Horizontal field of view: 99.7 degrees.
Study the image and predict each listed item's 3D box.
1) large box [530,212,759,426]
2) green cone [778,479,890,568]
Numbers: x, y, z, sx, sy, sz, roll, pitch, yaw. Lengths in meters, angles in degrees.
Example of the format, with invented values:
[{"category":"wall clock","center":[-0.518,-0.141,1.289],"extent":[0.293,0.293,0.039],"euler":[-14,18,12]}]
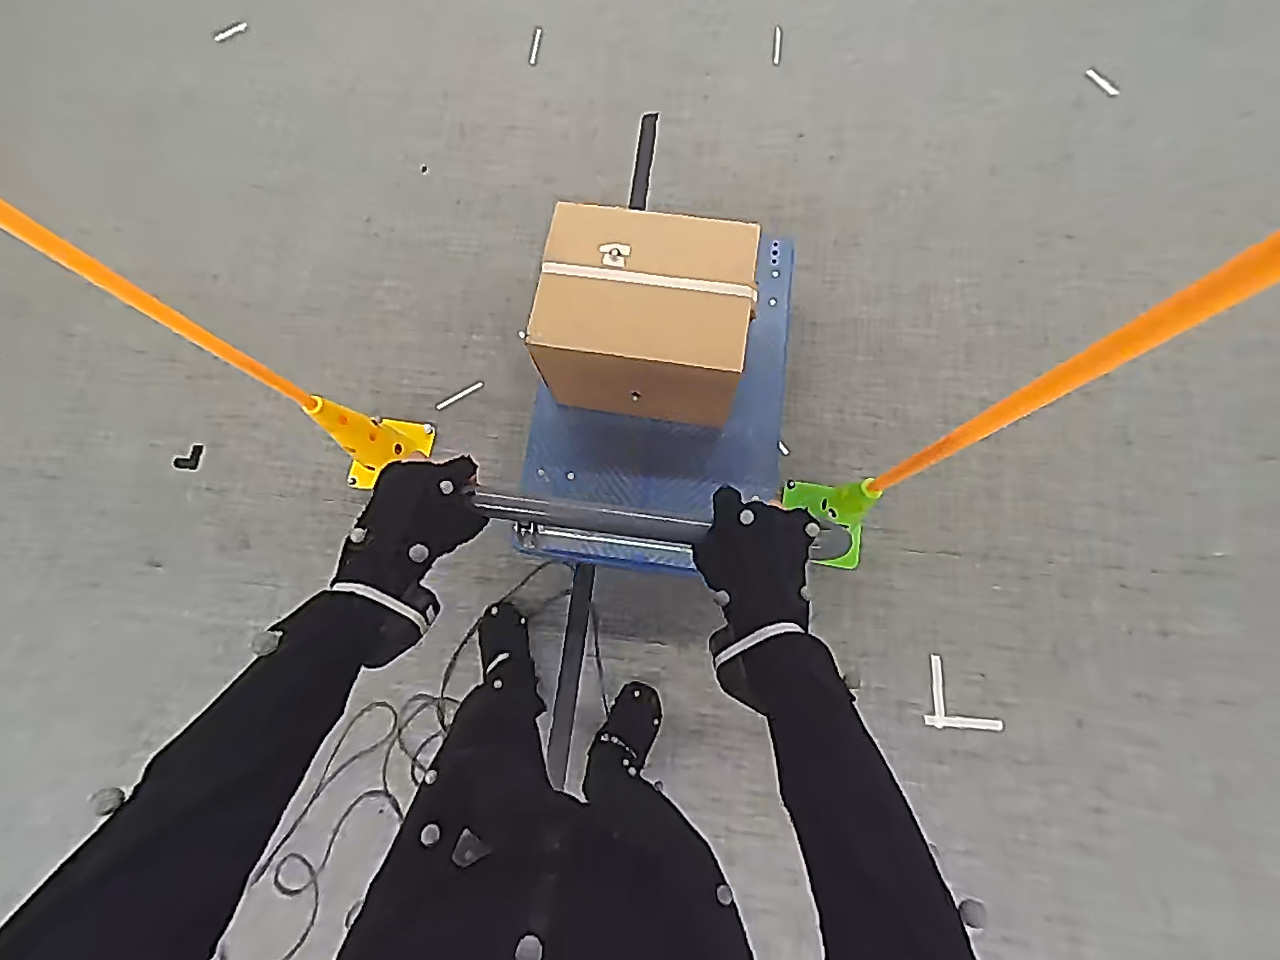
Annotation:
[{"category":"large box","center":[0.022,-0.327,1.169],"extent":[0.408,0.320,0.320],"euler":[9,77,5]},{"category":"green cone","center":[0.451,0.065,1.194],"extent":[0.202,0.368,0.200],"euler":[10,76,4]}]
